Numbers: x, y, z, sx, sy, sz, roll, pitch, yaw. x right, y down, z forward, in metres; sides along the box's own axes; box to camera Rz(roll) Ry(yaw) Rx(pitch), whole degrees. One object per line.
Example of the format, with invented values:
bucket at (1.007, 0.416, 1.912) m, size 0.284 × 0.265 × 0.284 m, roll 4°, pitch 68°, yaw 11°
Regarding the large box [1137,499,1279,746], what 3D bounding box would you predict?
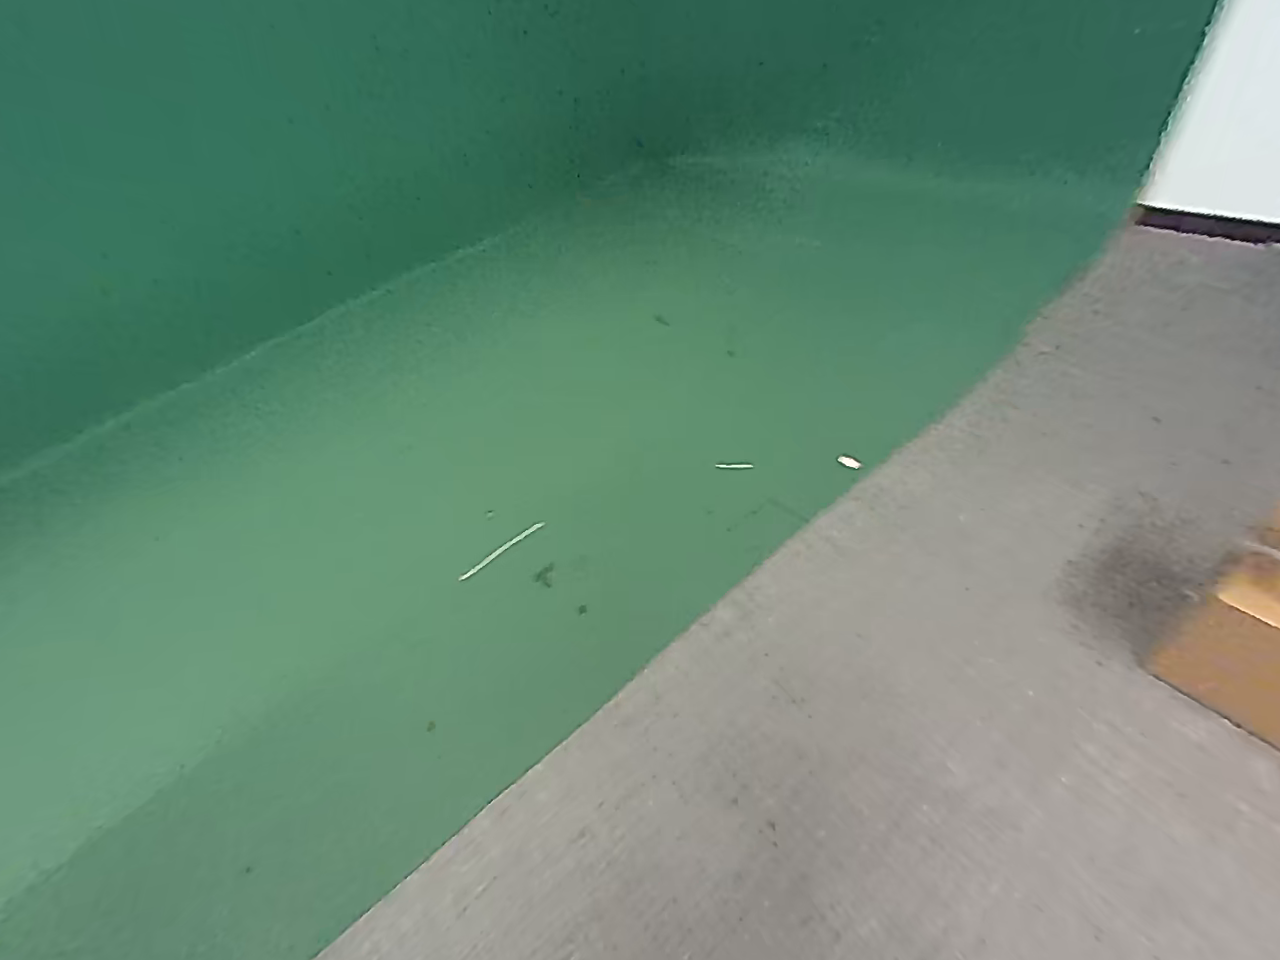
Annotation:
large box at (1.296, 0.313, 1.014) m, size 0.320 × 0.320 × 0.408 m, roll -38°, pitch 51°, yaw -18°
